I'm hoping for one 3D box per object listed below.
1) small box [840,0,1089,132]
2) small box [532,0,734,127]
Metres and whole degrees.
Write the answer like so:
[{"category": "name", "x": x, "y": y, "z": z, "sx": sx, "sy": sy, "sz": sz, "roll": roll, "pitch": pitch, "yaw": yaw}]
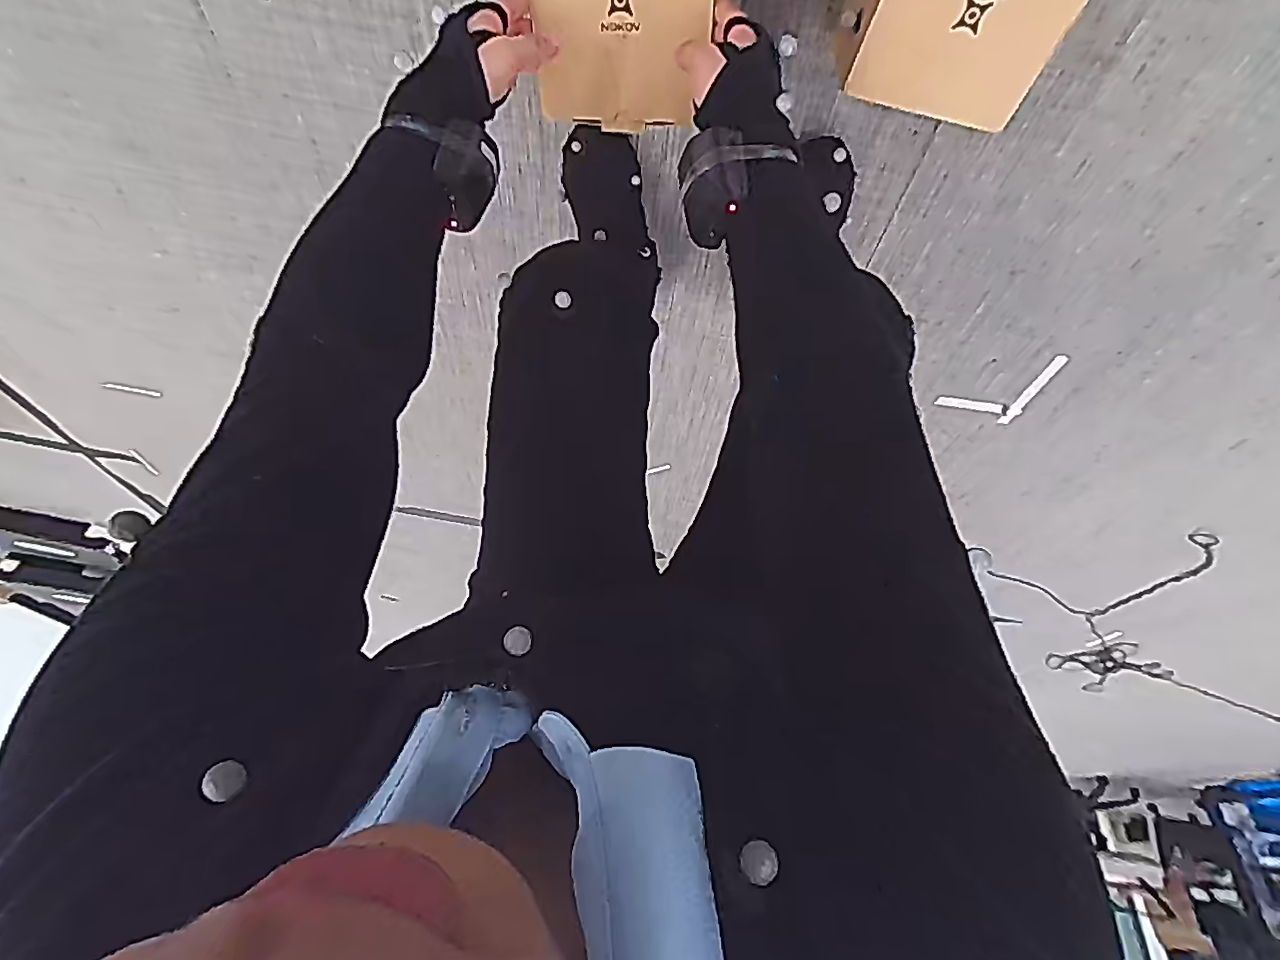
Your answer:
[{"category": "small box", "x": 0.301, "y": -0.472, "z": 0.503, "sx": 0.168, "sy": 0.176, "sz": 0.179, "roll": 12, "pitch": 145, "yaw": -4}, {"category": "small box", "x": 0.001, "y": -0.458, "z": 0.518, "sx": 0.168, "sy": 0.176, "sz": 0.179, "roll": 7, "pitch": 134, "yaw": 9}]
